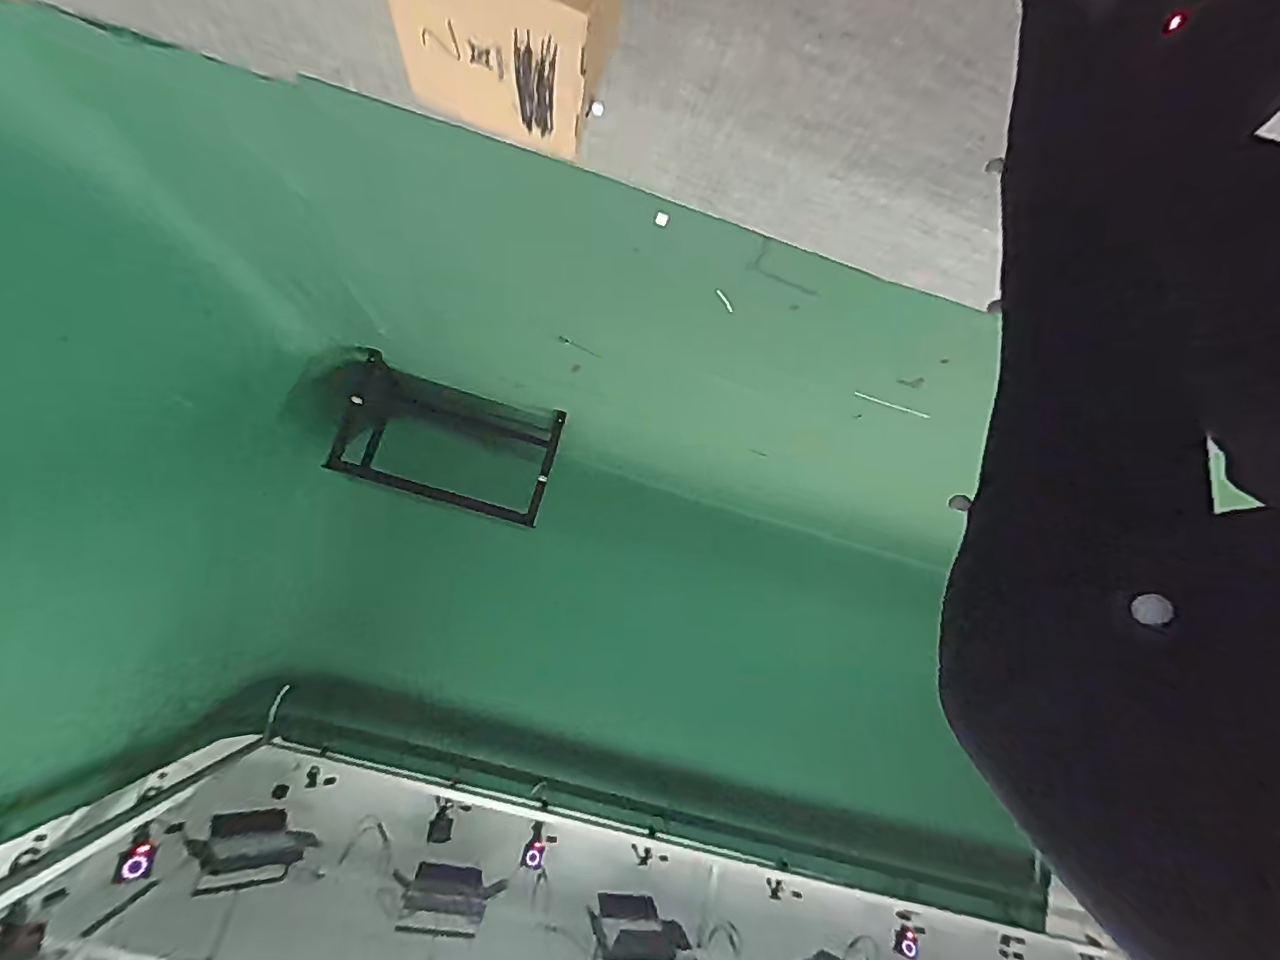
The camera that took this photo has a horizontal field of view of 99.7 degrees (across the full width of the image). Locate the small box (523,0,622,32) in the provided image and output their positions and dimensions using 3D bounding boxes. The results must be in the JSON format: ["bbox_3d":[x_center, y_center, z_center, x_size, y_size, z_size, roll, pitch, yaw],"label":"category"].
[{"bbox_3d":[-0.076,-0.619,0.535,0.168,0.176,0.179,16,170,-6],"label":"small box"}]
